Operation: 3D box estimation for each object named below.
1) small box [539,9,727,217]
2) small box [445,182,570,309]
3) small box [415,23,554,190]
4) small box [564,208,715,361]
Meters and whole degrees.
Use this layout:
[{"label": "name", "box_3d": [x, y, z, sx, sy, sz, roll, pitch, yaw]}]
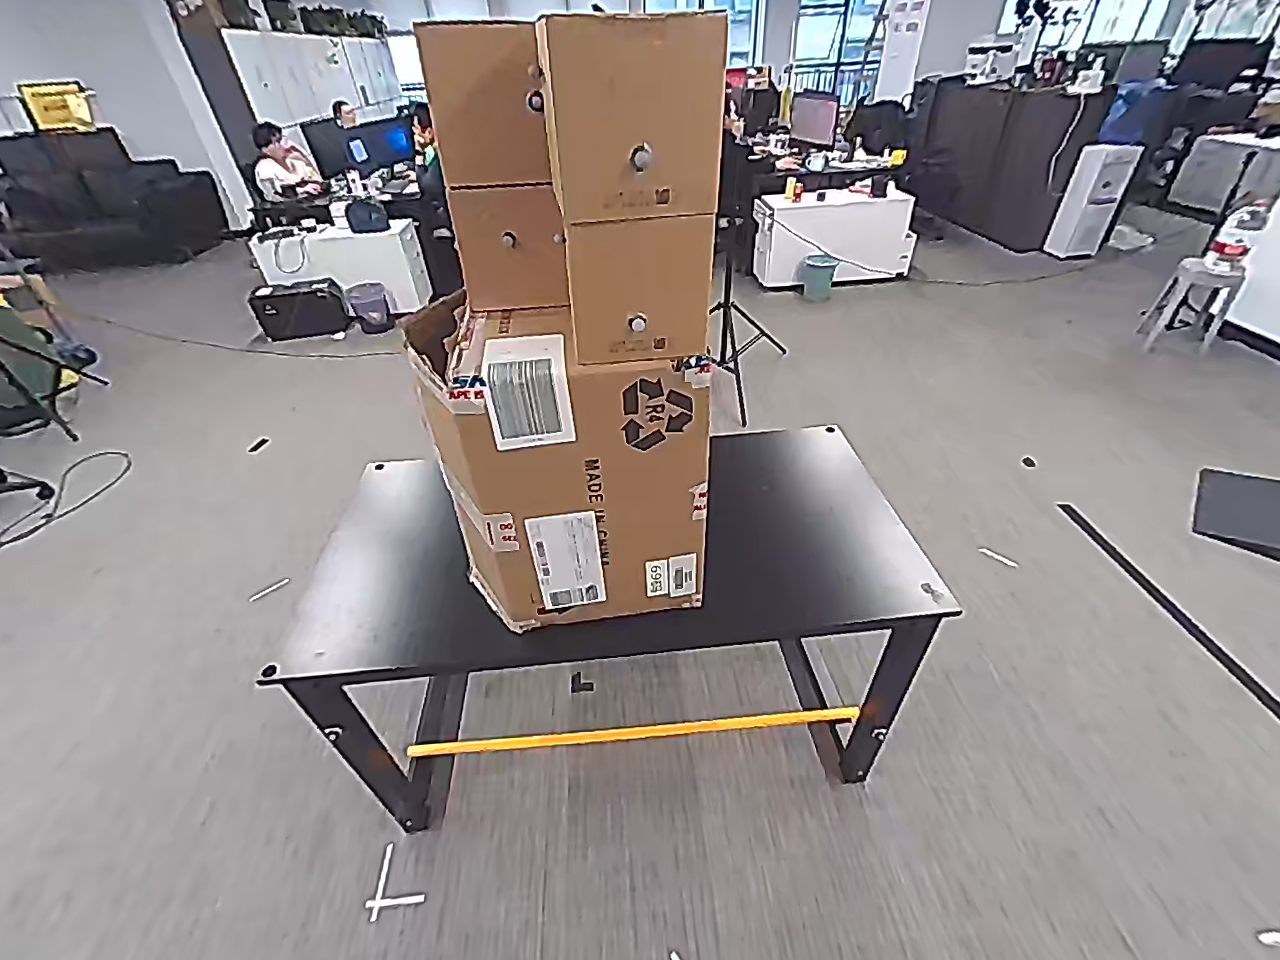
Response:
[{"label": "small box", "box_3d": [-0.015, -0.395, 0.586, 0.168, 0.176, 0.179, -8, 40, -7]}, {"label": "small box", "box_3d": [-0.179, -0.370, 0.829, 0.179, 0.176, 0.168, -6, 37, -6]}, {"label": "small box", "box_3d": [-0.182, -0.499, 0.729, 0.179, 0.176, 0.168, -8, 36, -8]}, {"label": "small box", "box_3d": [-0.009, -0.268, 0.692, 0.168, 0.176, 0.179, -6, 40, -6]}]
